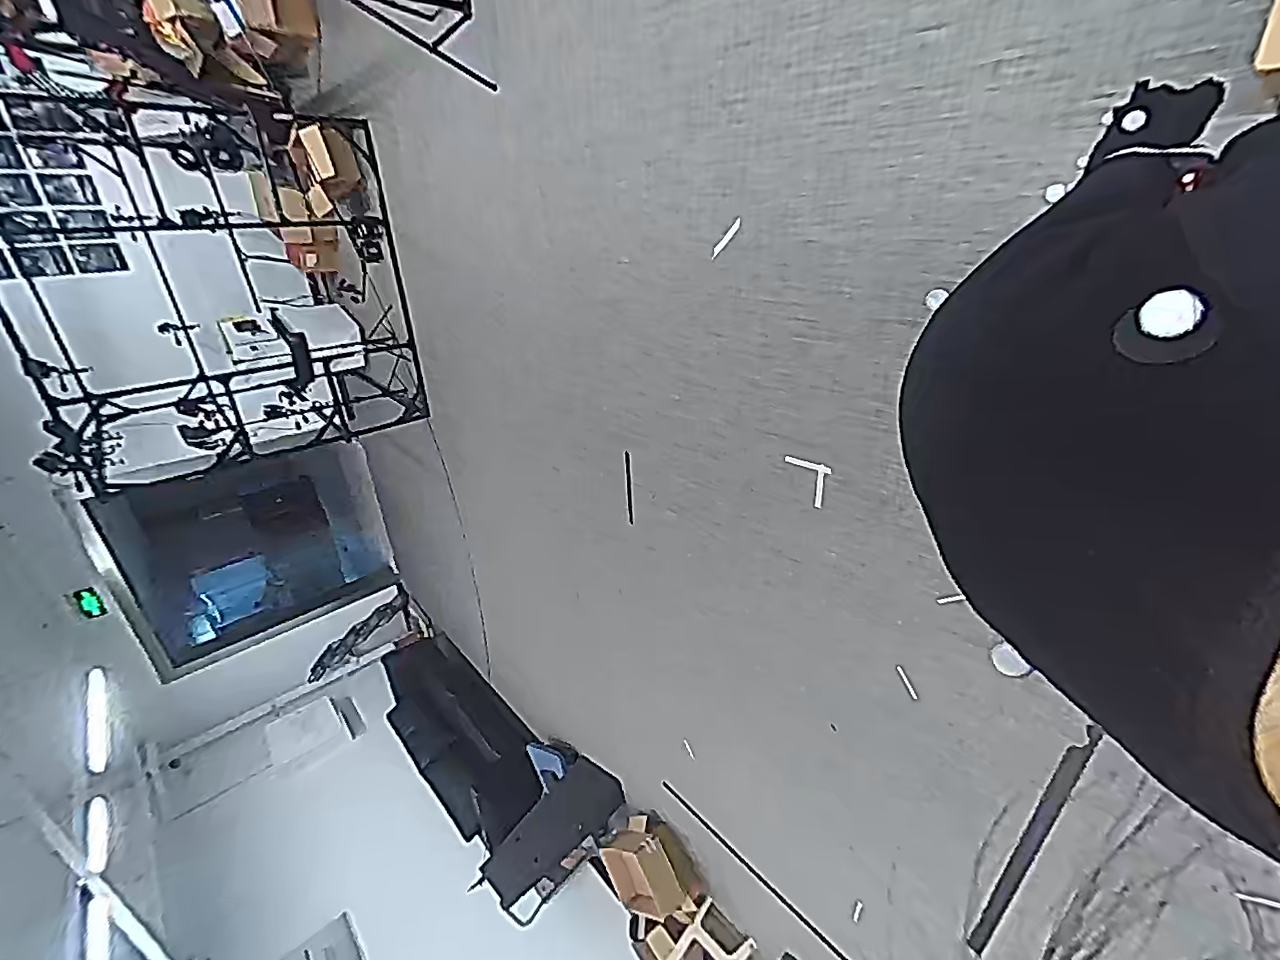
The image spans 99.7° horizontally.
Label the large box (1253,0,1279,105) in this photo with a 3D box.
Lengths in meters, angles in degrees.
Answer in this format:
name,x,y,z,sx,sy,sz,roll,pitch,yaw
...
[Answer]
name,x,y,z,sx,sy,sz,roll,pitch,yaw
large box,1.057,-0.678,0.627,0.408,0.320,0.320,20,124,43
